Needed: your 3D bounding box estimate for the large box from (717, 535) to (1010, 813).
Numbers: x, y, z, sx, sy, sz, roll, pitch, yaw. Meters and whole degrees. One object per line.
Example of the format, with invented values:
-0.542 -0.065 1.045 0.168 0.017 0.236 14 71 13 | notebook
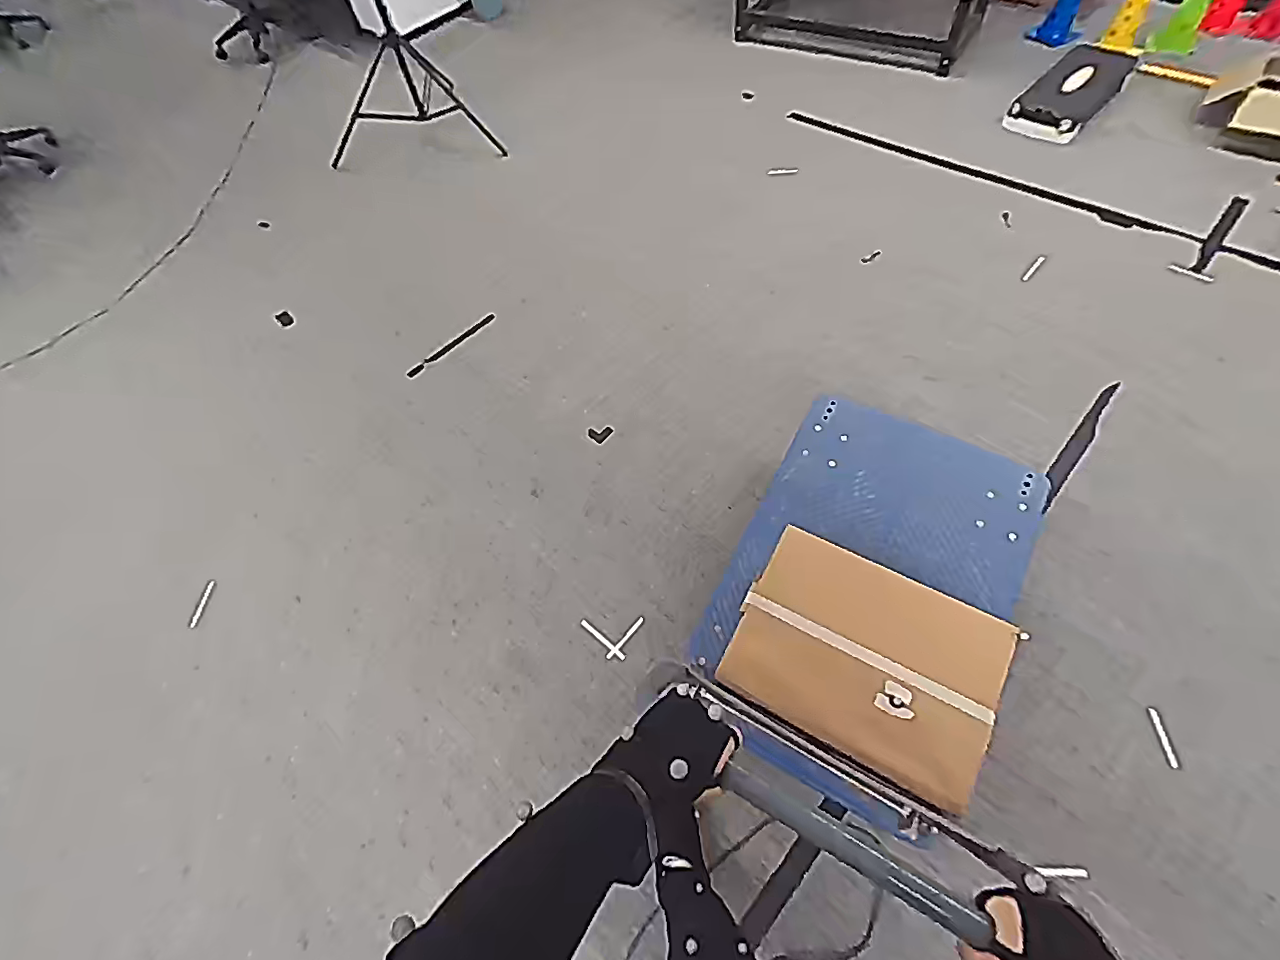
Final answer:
0.392 0.362 1.045 0.408 0.320 0.320 24 72 18 | large box
